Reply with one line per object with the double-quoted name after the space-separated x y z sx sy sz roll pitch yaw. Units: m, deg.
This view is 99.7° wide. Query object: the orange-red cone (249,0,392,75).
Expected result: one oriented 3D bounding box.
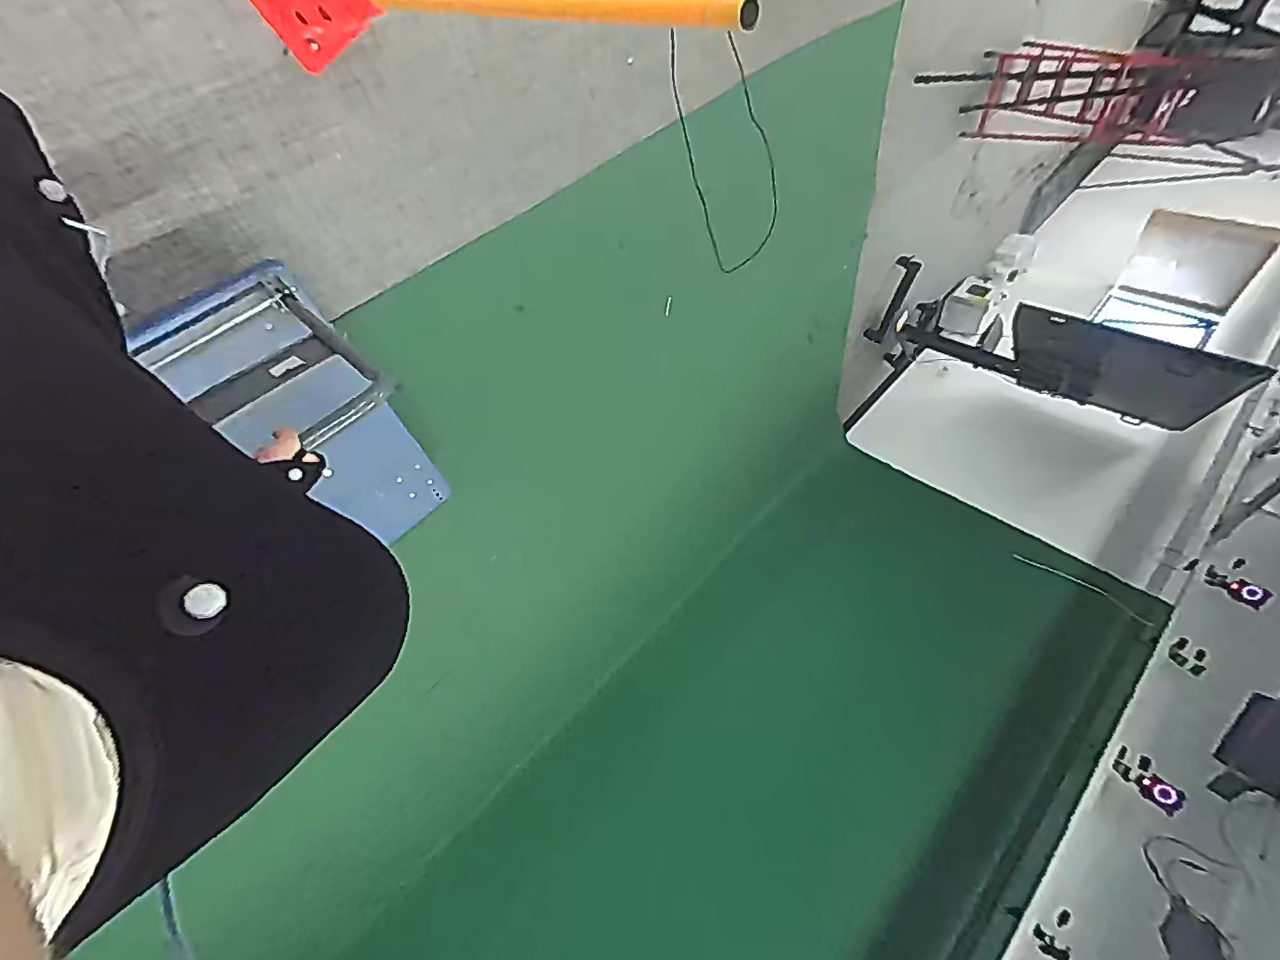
-0.584 -0.932 1.056 0.199 0.360 0.198 -51 148 -9 "orange-red cone"
